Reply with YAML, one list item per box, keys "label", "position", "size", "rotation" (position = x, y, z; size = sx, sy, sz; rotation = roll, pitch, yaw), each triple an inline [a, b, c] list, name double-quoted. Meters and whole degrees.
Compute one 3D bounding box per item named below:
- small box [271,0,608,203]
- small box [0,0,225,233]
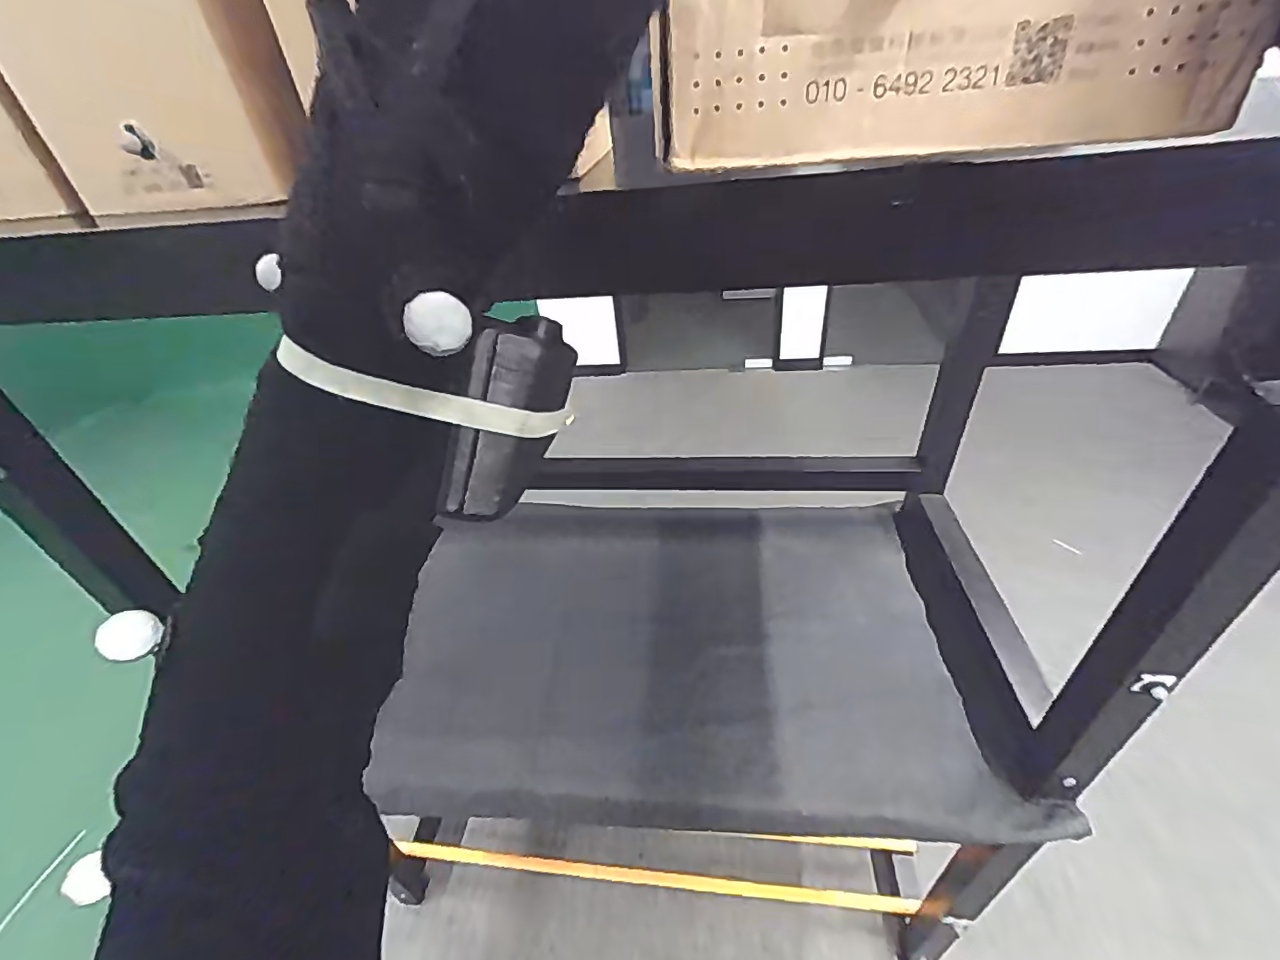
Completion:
- label: "small box"
  position: [-0.120, -0.299, 0.377]
  size: [0.168, 0.176, 0.179]
  rotation: [-1, 35, 7]
- label: "small box"
  position: [-0.511, -0.312, 0.454]
  size: [0.168, 0.176, 0.179]
  rotation: [1, 36, 8]
